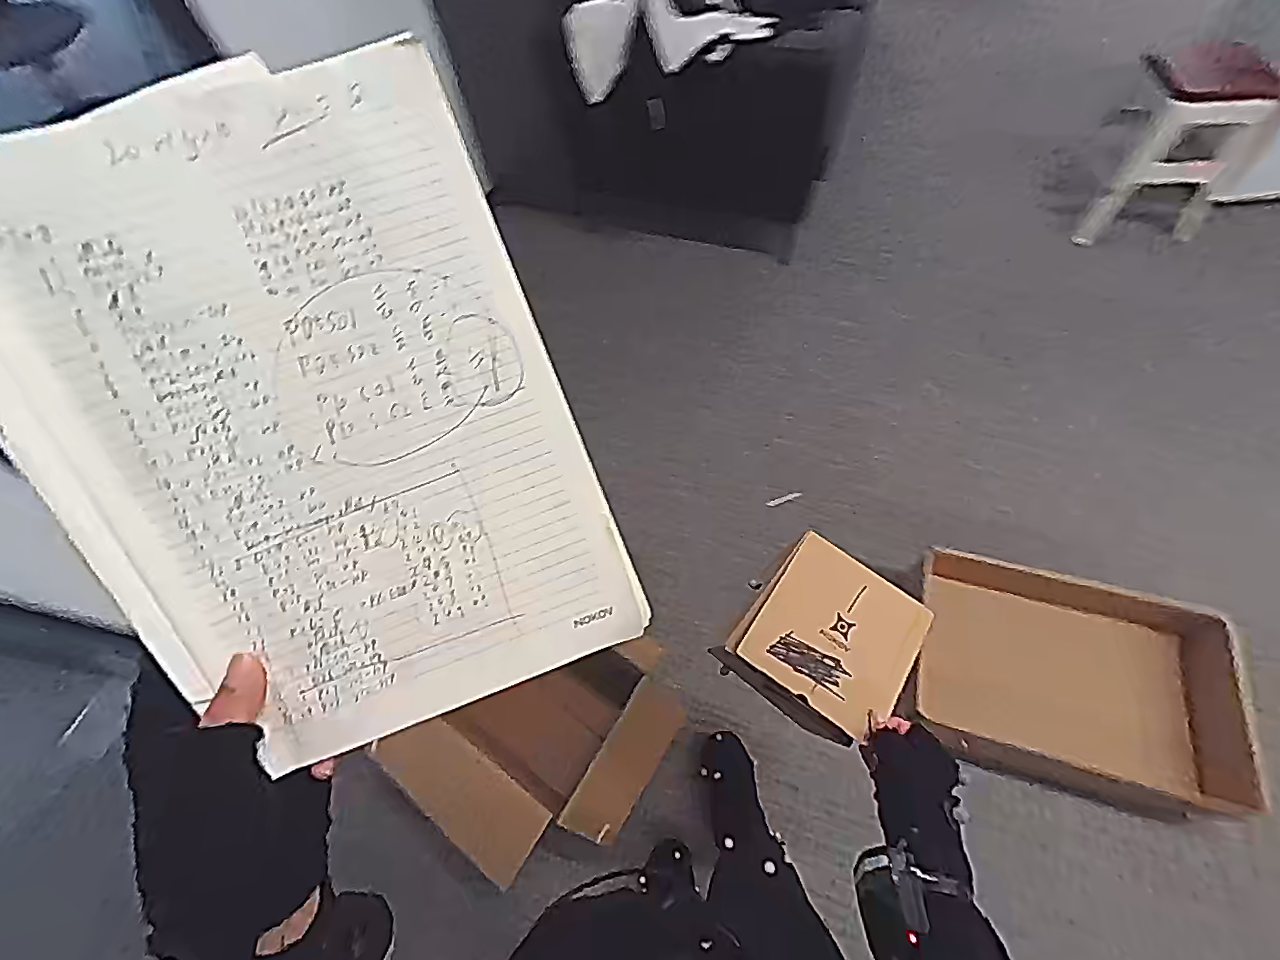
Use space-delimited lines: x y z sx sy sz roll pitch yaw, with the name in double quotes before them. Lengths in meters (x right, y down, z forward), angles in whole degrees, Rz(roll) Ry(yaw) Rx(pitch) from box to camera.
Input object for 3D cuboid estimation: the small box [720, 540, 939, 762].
"small box" 0.214 0.205 0.665 0.168 0.176 0.179 39 75 11
